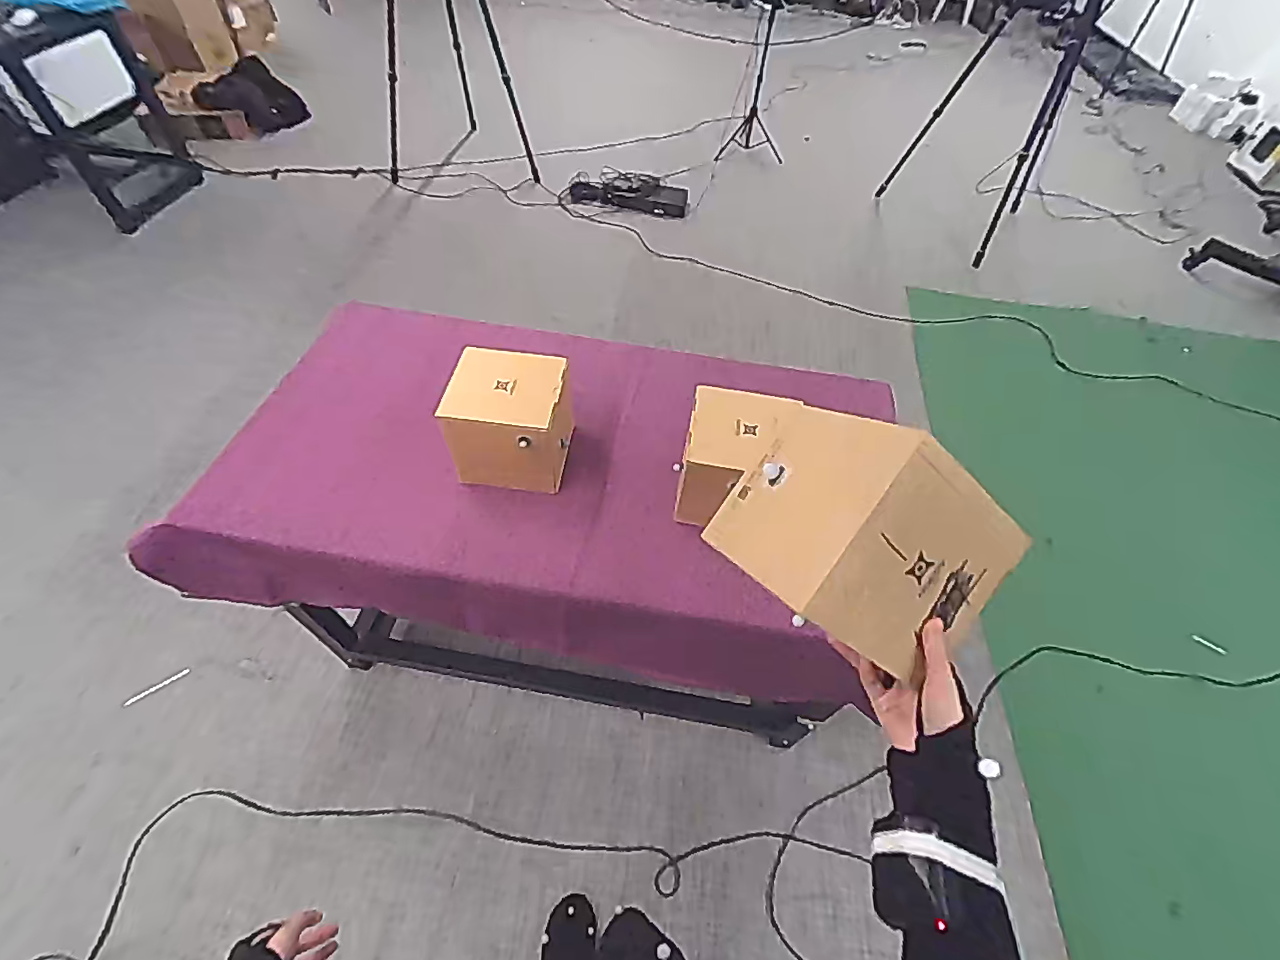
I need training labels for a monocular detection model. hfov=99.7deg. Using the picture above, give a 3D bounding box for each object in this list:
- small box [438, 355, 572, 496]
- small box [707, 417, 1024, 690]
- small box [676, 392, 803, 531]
[{"bbox_3d":[-0.217,-0.088,0.922,0.179,0.176,0.168,6,52,0],"label":"small box"},{"bbox_3d":[0.198,0.055,0.510,0.179,0.176,0.168,35,89,-23],"label":"small box"},{"bbox_3d":[0.160,-0.019,0.892,0.179,0.176,0.168,10,53,3],"label":"small box"}]
